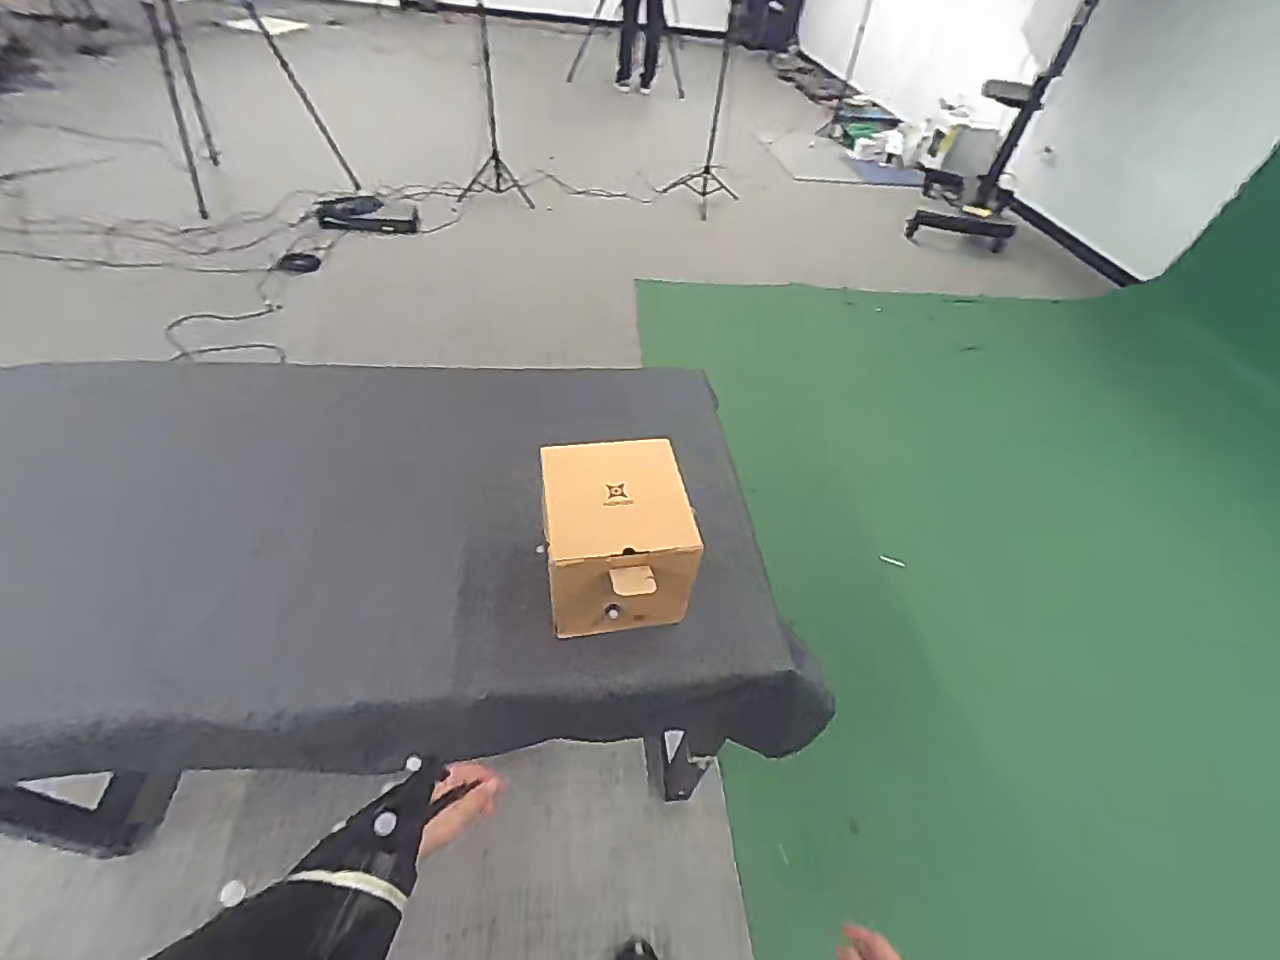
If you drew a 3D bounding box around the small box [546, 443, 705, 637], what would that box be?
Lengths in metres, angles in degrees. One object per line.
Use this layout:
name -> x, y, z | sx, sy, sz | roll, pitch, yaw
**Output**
small box -> -0.032, 0.075, 0.687 | 0.168, 0.176, 0.179 | -5, 48, -11
